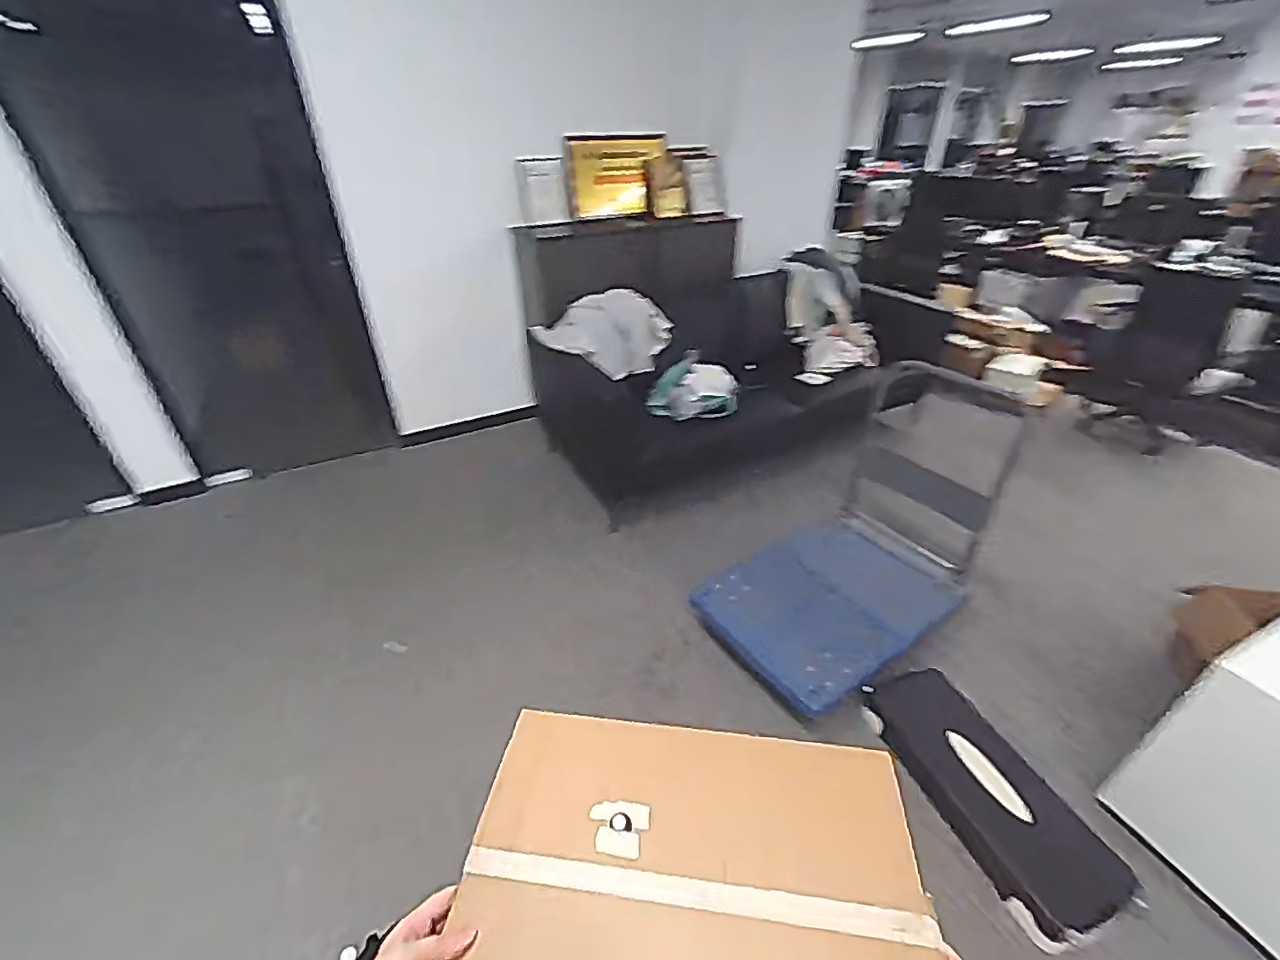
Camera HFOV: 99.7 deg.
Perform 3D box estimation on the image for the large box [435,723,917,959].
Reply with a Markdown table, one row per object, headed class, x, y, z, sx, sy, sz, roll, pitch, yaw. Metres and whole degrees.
| class | x | y | z | sx | sy | sz | roll | pitch | yaw |
| --- | --- | --- | --- | --- | --- | --- | --- | --- | --- |
| large box | 0.043 | 0.492 | 0.565 | 0.408 | 0.320 | 0.320 | 0 | 34 | 8 |
